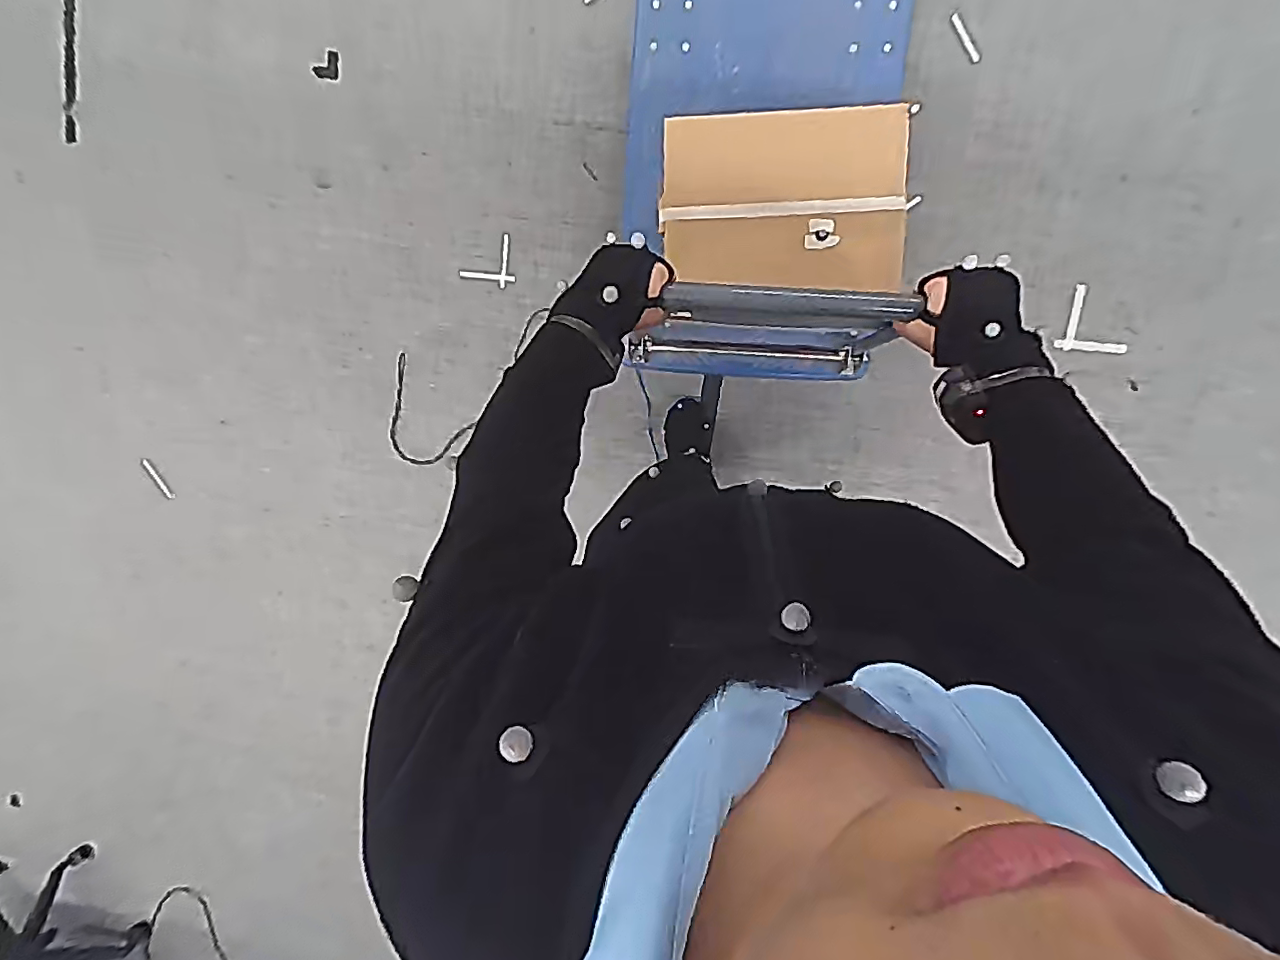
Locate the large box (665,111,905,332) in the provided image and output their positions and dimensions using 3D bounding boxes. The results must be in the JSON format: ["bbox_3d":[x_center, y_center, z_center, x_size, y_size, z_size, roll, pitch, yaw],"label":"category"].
[{"bbox_3d":[0.258,-0.480,1.080,0.408,0.320,0.320,0,99,5],"label":"large box"}]
